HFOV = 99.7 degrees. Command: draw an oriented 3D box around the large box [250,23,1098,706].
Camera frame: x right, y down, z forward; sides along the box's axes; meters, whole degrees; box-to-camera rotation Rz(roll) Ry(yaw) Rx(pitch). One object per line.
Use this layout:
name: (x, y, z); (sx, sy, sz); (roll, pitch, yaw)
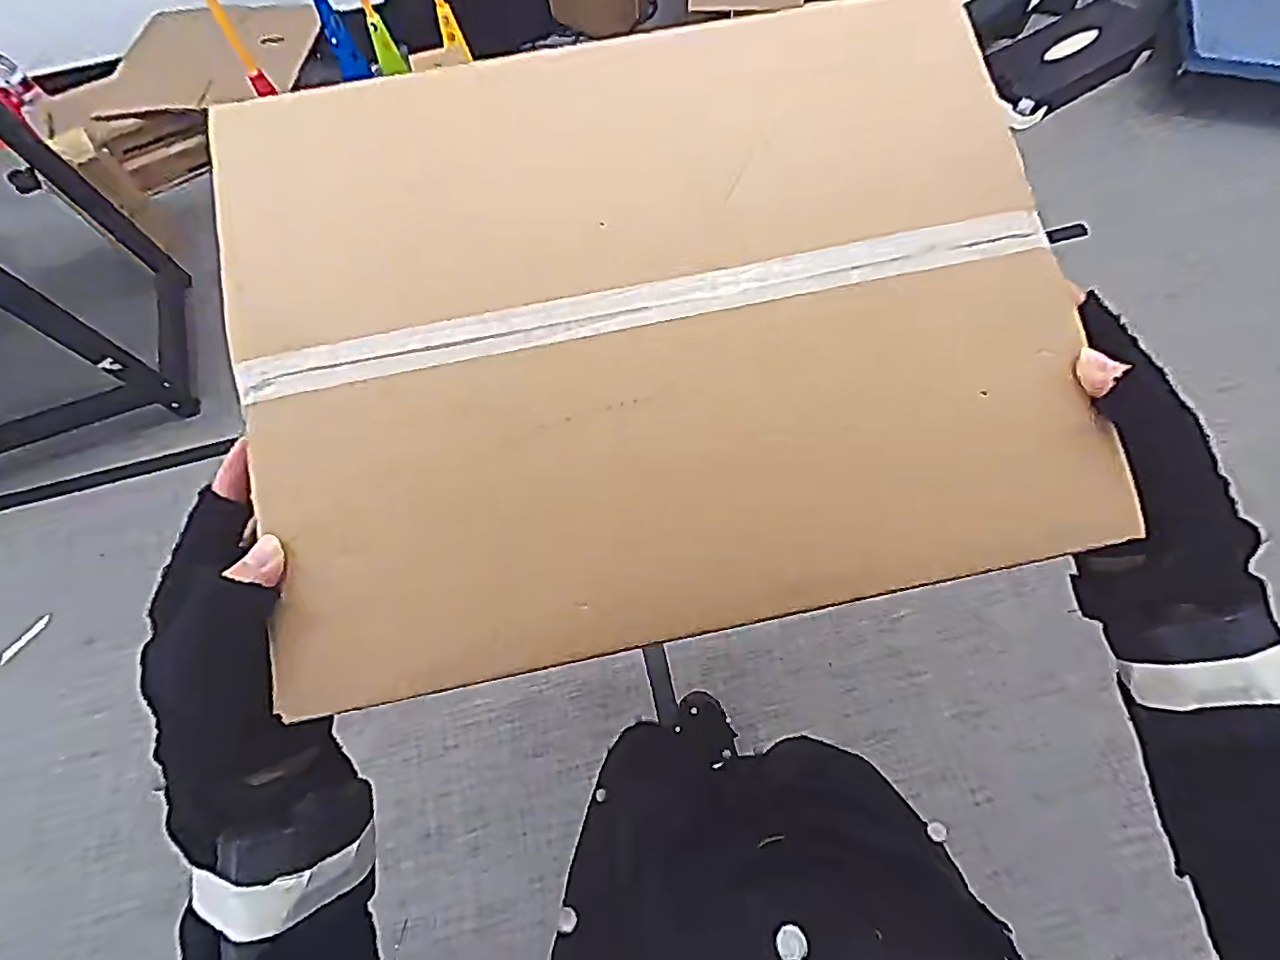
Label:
large box: (0.004, -0.056, 0.433); (0.408, 0.320, 0.320); (-12, 82, -3)
